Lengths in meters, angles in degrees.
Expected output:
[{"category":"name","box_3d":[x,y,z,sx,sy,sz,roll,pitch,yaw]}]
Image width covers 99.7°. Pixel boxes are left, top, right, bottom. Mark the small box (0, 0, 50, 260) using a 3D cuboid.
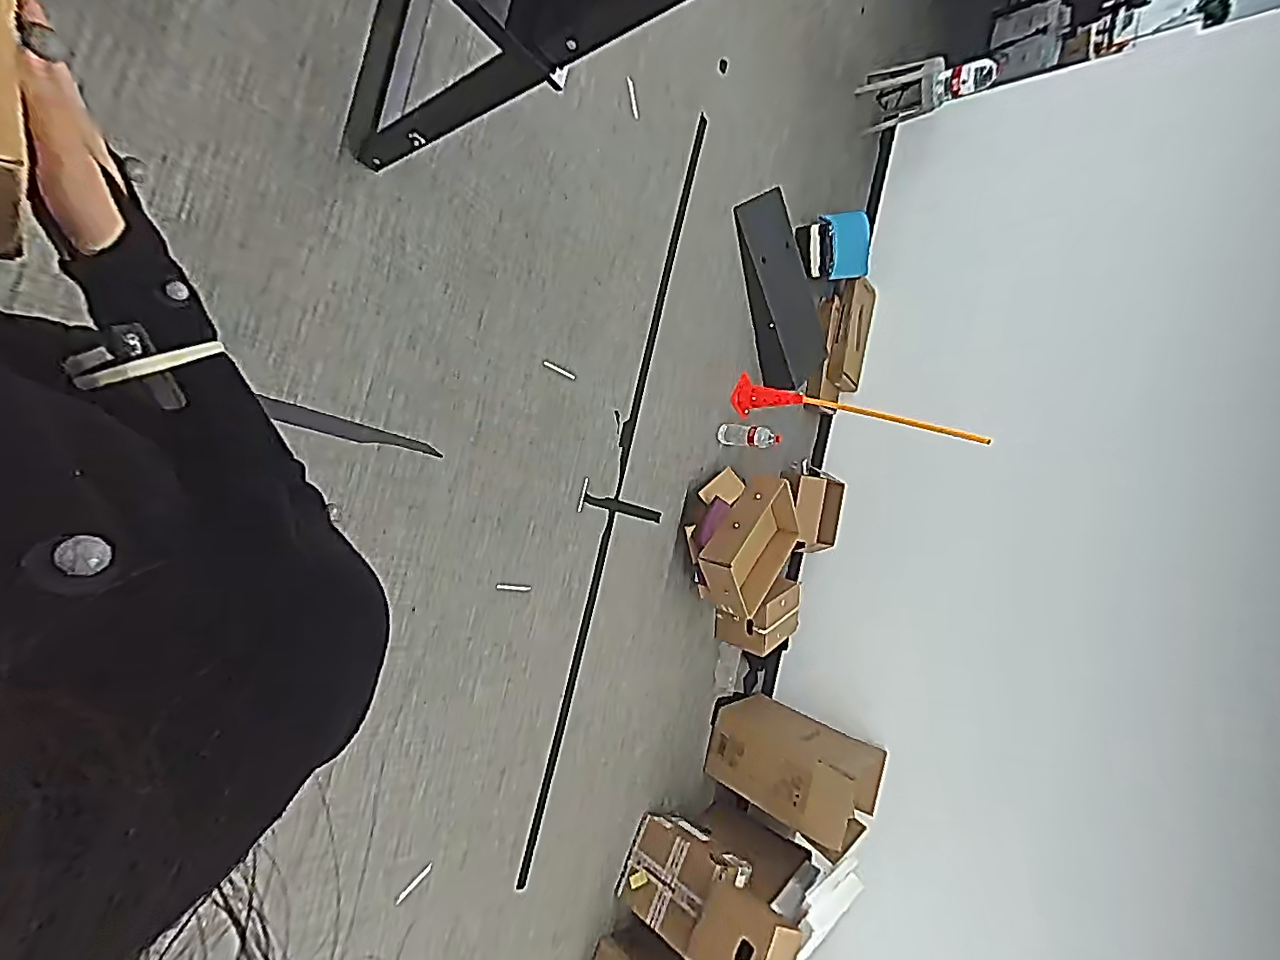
[{"category":"small box","box_3d":[-0.387,-0.221,0.235,0.168,0.176,0.179,-4,95,-49]}]
